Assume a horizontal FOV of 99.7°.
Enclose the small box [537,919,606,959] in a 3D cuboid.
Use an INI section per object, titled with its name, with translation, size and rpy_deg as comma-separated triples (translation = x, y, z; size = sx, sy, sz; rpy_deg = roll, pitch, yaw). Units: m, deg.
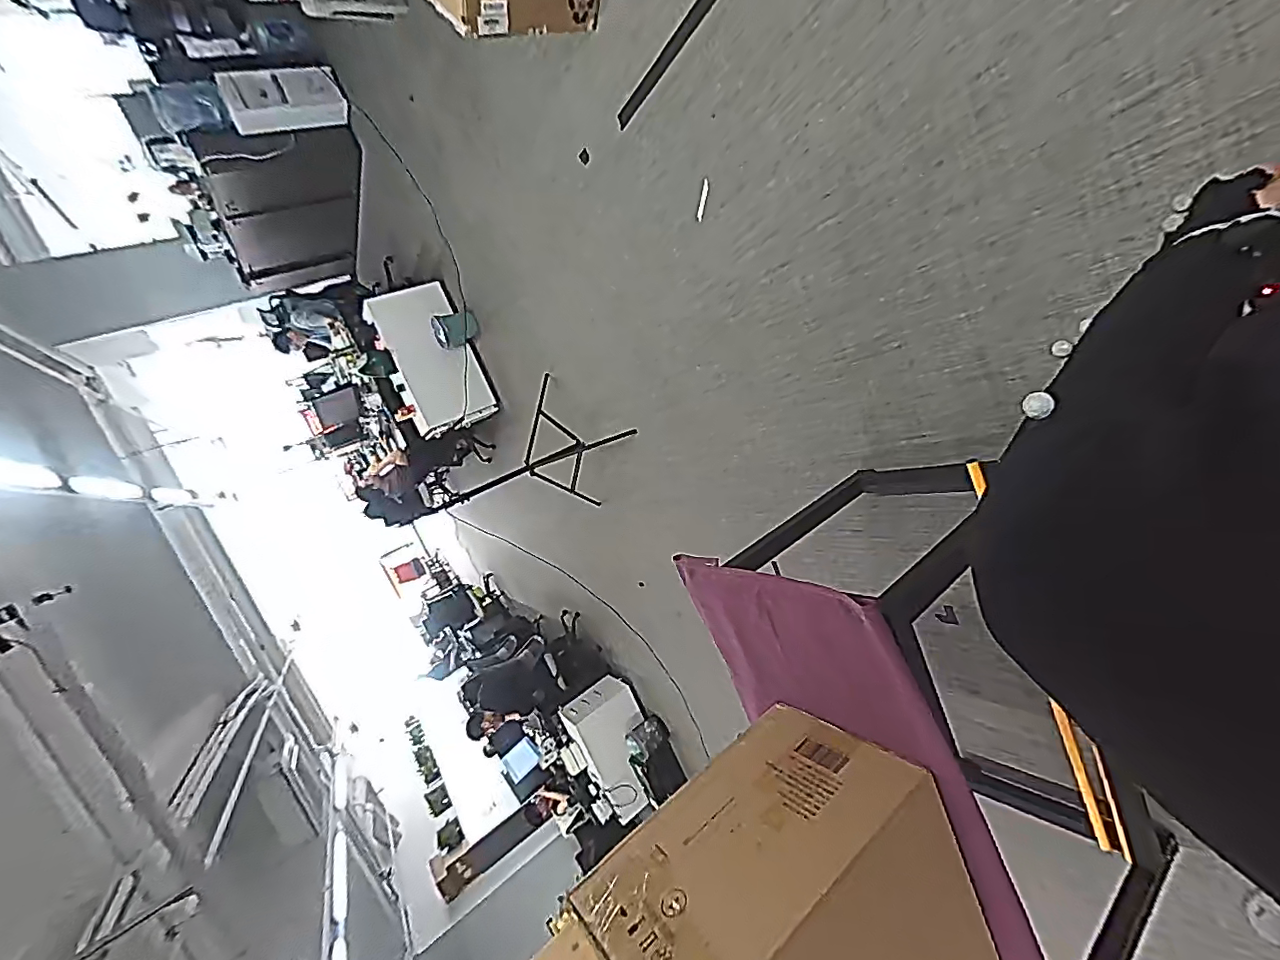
[small box]
translation = -0.108, 0.939, 0.948
size = 0.179, 0.176, 0.168
rpy_deg = 62, 153, -6
